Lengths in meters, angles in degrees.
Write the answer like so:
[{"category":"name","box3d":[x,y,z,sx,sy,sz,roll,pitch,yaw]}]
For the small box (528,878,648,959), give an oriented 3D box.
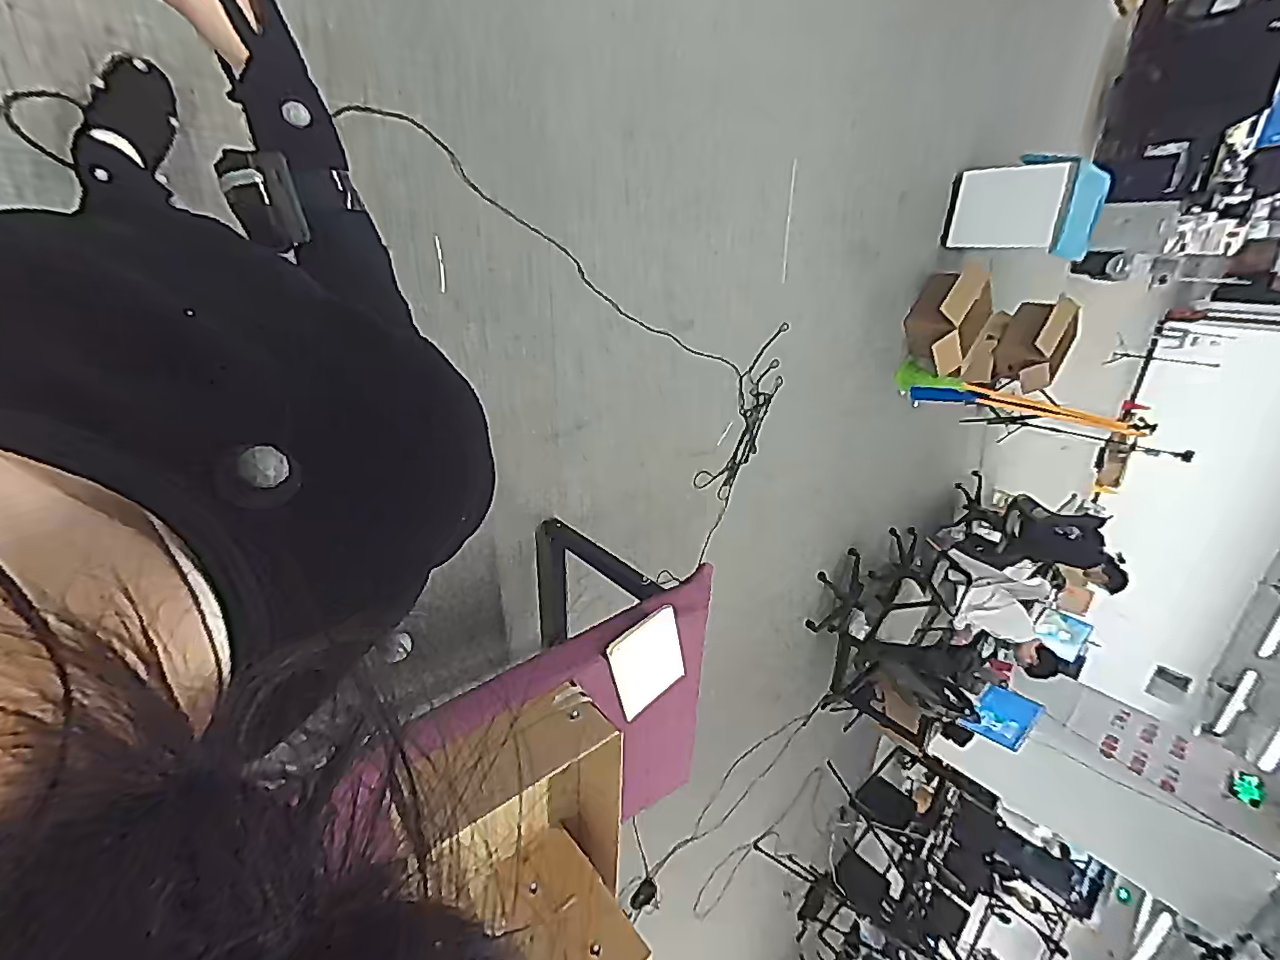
[{"category":"small box","box3d":[-0.103,0.938,1.043,0.179,0.176,0.168,-20,120,-38]}]
